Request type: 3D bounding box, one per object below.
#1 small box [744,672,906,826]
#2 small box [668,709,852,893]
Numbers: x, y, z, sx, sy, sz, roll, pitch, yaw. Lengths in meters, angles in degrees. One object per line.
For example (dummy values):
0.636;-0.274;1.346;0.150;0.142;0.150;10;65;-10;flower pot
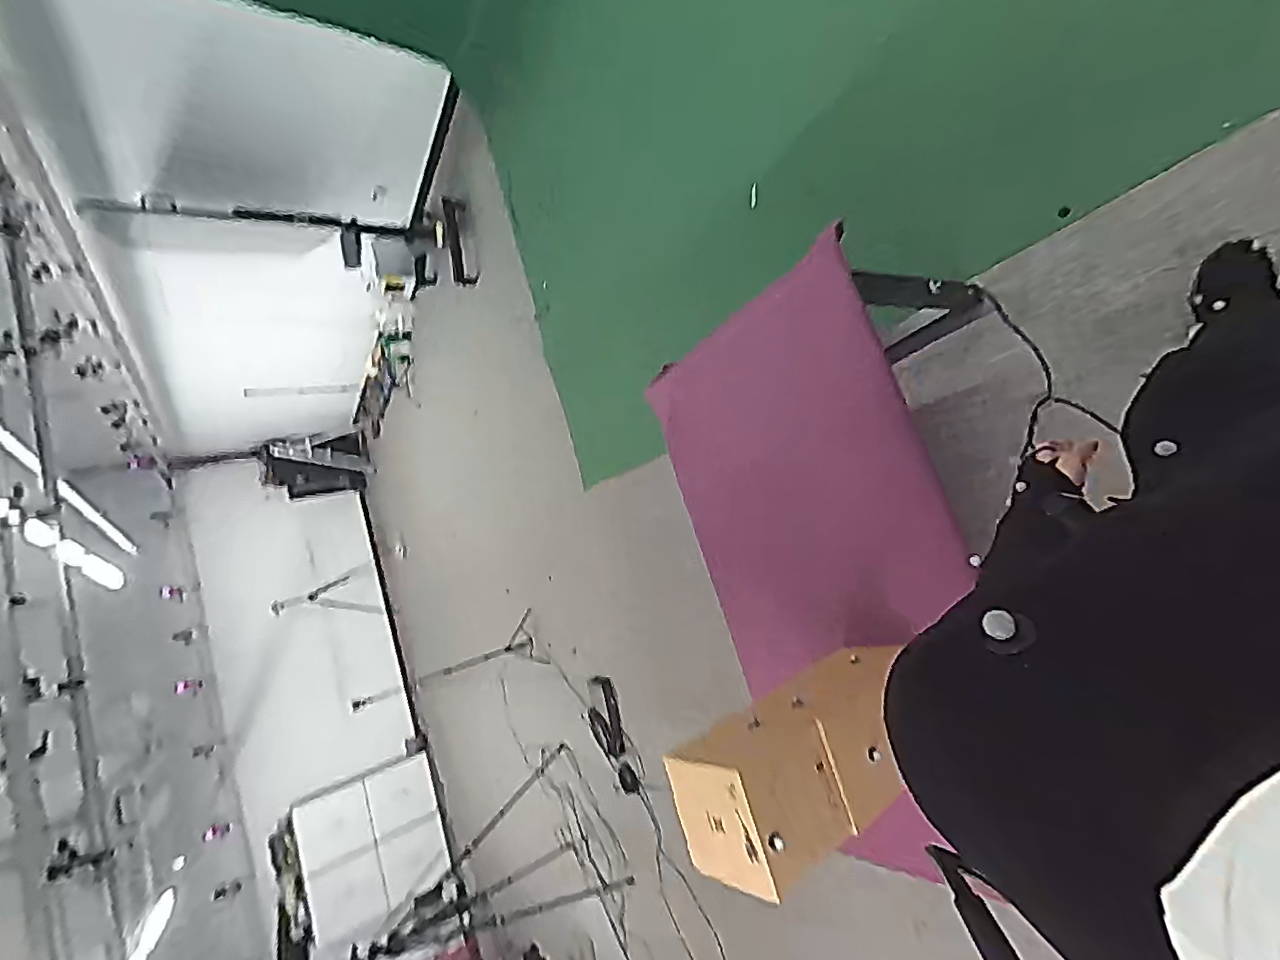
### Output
0.311;0.429;0.895;0.179;0.176;0.168;-27;77;53;small box
0.176;0.457;0.806;0.179;0.176;0.168;-30;76;53;small box
